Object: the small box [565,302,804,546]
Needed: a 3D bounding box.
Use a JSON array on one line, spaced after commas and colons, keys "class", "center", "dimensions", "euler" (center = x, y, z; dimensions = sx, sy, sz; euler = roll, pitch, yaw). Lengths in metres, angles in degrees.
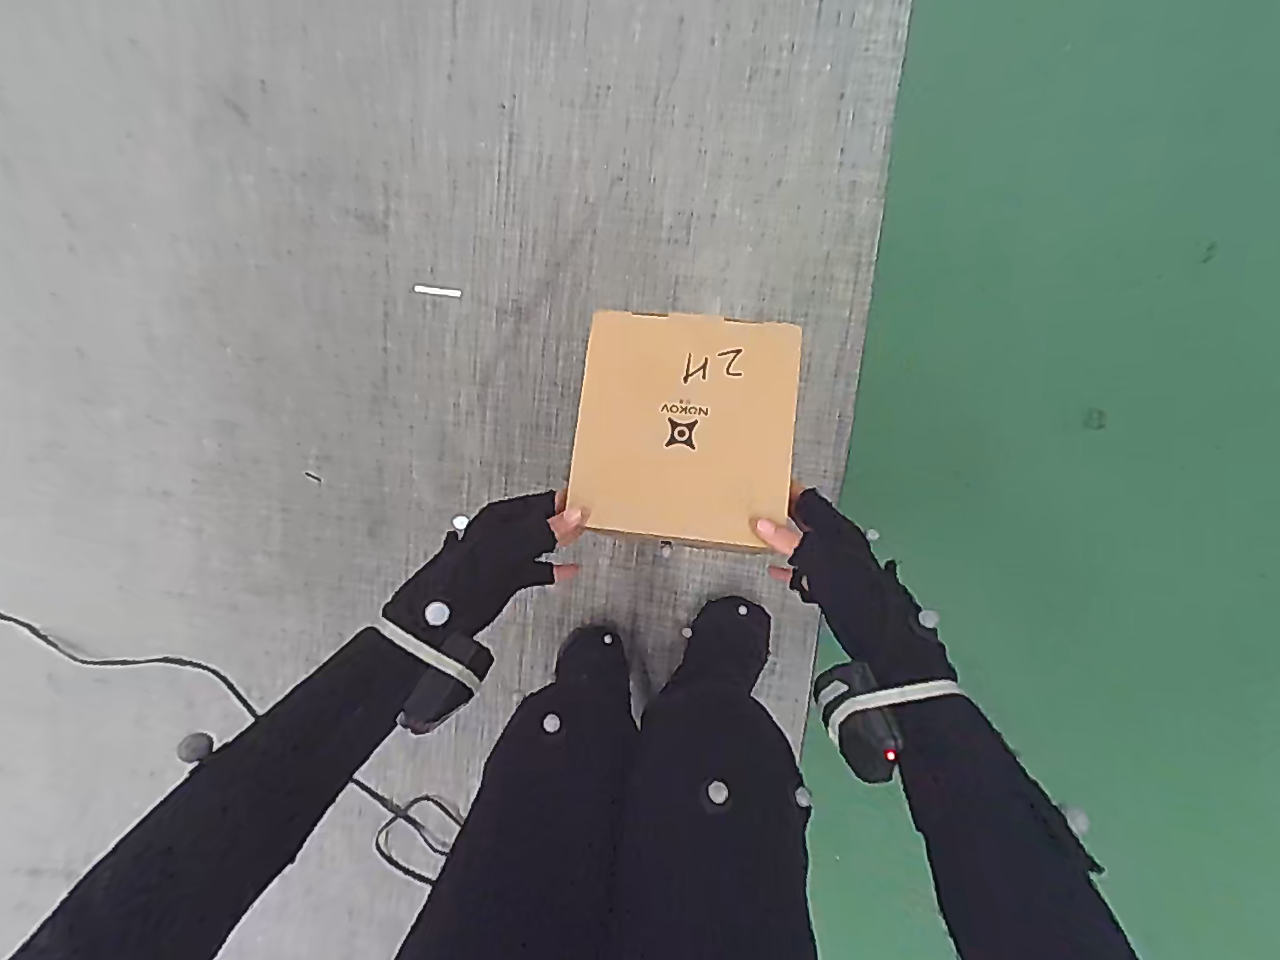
[{"class": "small box", "center": [0.041, -0.037, 0.492], "dimensions": [0.168, 0.176, 0.179], "euler": [7, 82, 5]}]
